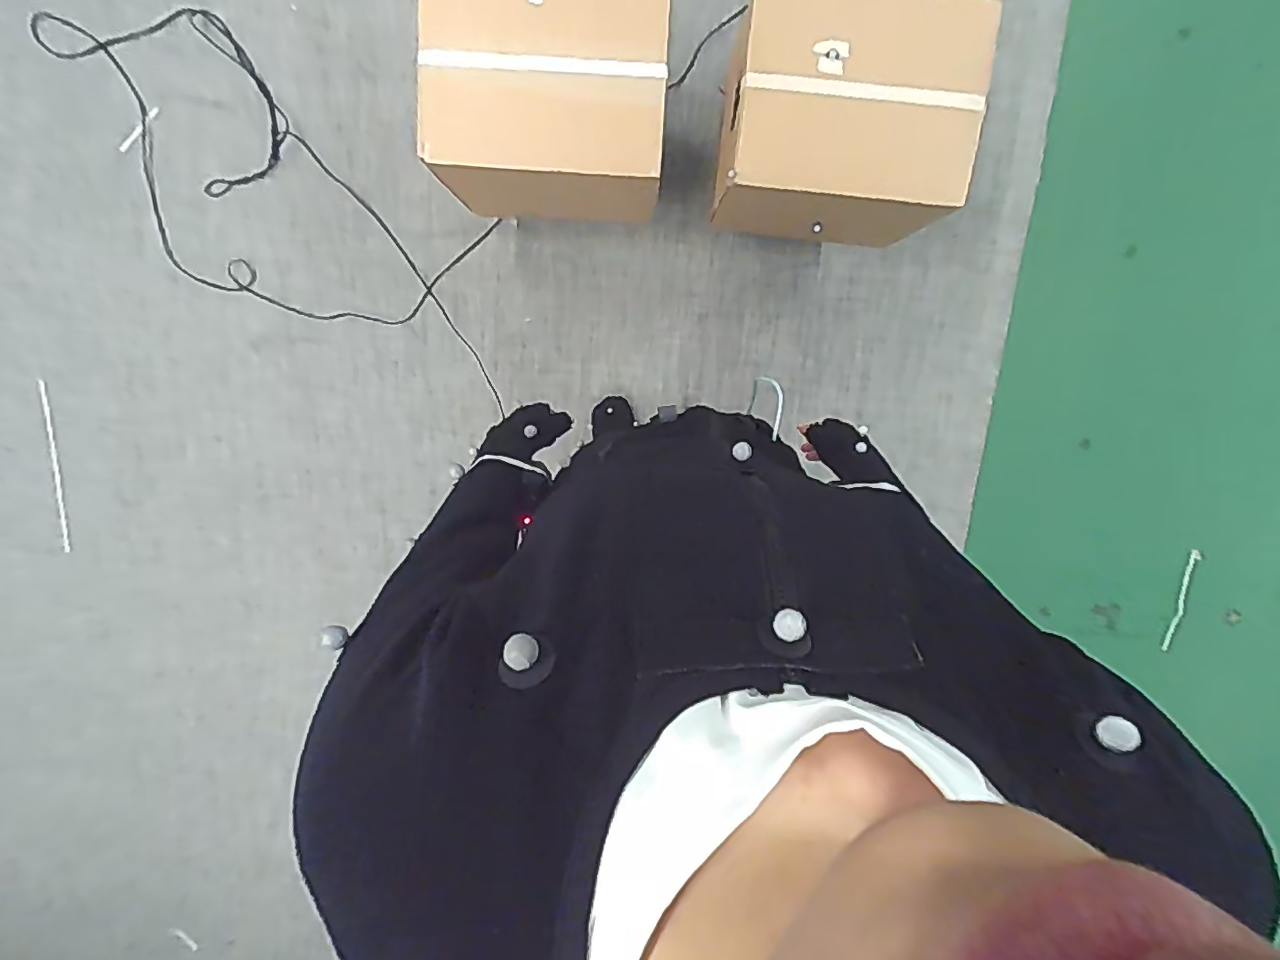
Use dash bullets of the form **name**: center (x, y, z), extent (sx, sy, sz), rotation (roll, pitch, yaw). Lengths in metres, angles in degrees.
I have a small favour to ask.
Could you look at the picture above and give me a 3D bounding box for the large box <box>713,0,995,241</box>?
- **large box**: center (0.375, -0.675, 1.056), extent (0.408, 0.320, 0.320), rotation (6, 101, -1)
